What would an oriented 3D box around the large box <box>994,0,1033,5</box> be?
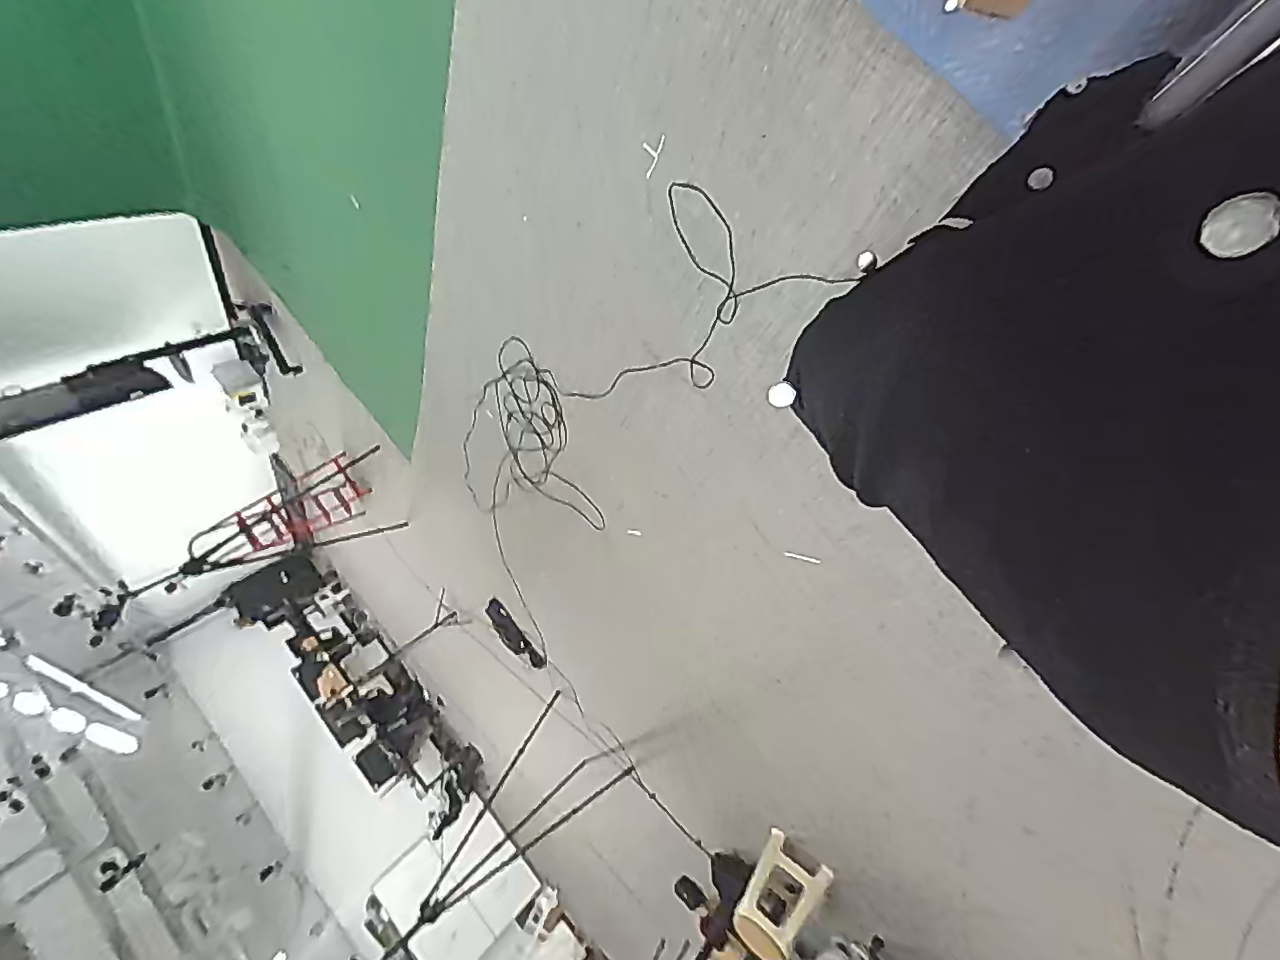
[{"bbox_3d":[0.511,-0.910,0.662,0.320,0.320,0.408,48,143,9],"label":"large box"}]
